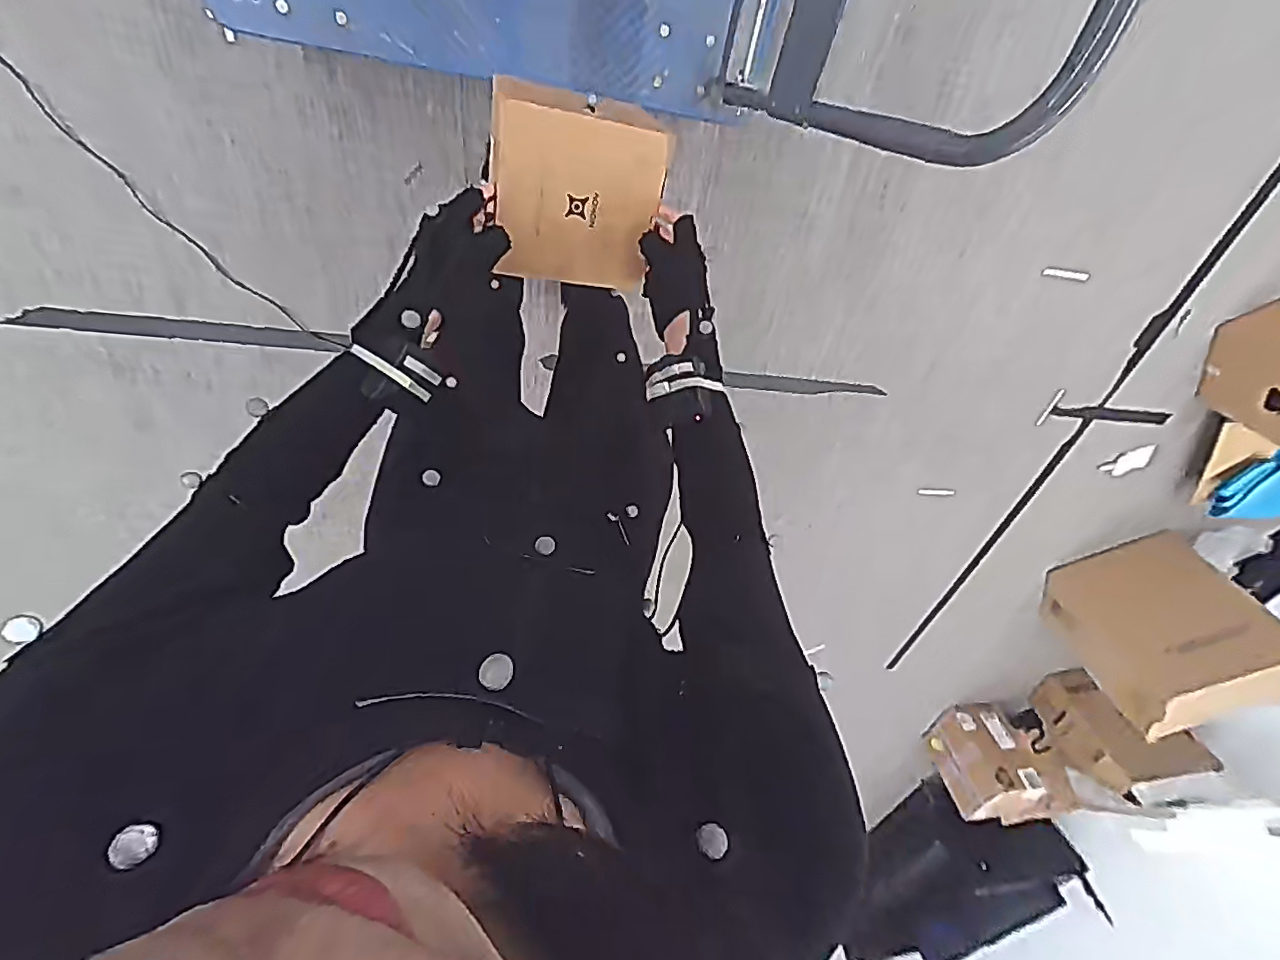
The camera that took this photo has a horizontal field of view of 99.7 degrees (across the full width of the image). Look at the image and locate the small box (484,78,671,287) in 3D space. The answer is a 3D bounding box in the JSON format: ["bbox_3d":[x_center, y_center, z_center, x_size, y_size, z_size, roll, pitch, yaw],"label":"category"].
[{"bbox_3d":[-0.086,-0.346,0.631,0.179,0.176,0.168,1,131,-18],"label":"small box"}]
